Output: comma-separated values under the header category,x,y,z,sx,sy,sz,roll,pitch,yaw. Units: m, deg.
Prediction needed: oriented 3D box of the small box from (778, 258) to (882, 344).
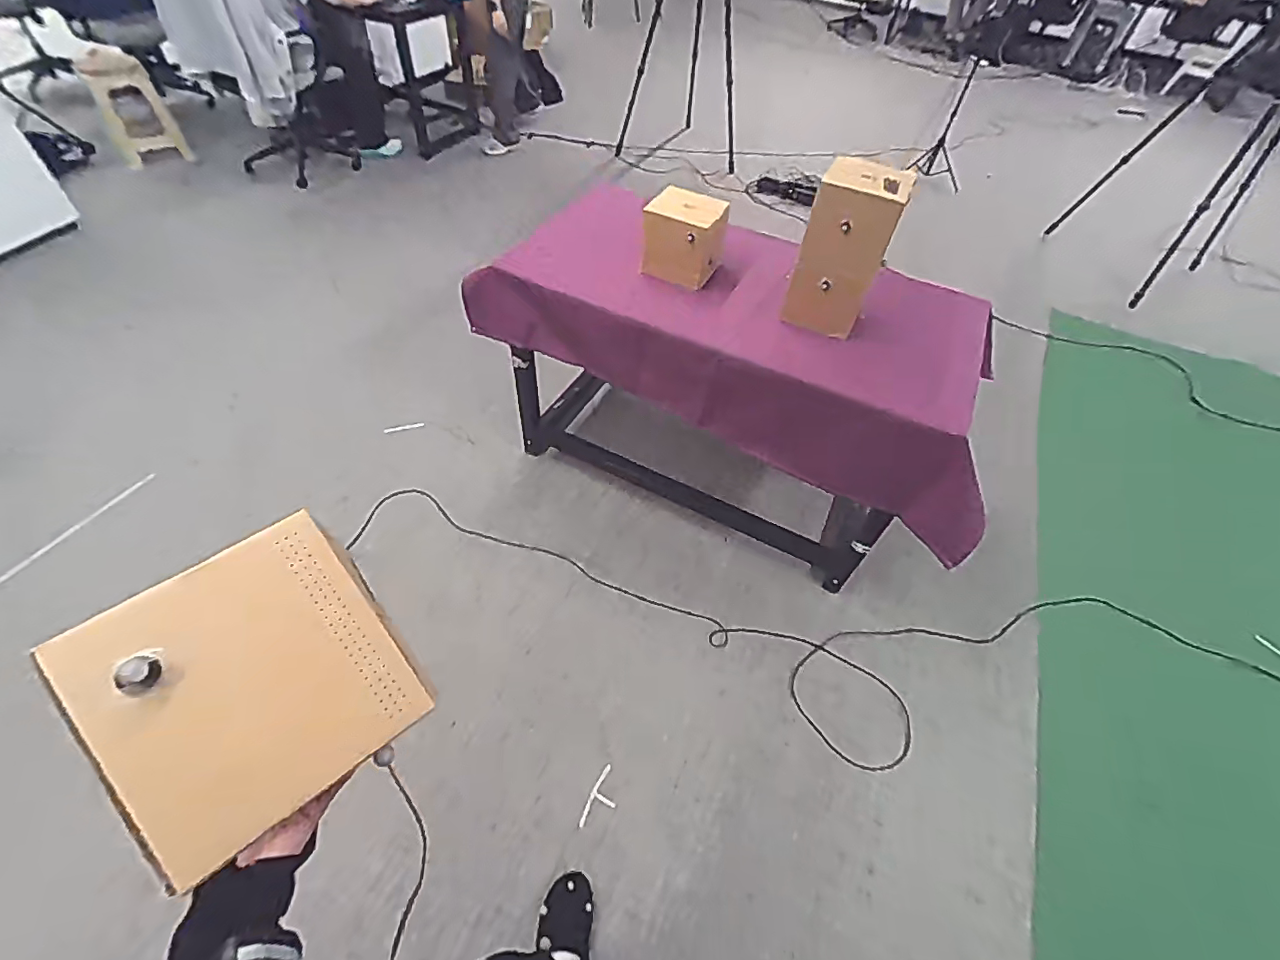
category,x,y,z,sx,sy,sz,roll,pitch,yaw
small box,0.456,-0.459,1.316,0.179,0.176,0.168,24,53,14

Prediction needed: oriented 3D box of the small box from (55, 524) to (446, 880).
category,x,y,z,sx,sy,sz,roll,pitch,yaw
small box,-0.277,0.152,0.433,0.176,0.168,0.179,-33,85,-25

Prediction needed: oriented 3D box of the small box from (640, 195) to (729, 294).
category,x,y,z,sx,sy,sz,roll,pitch,yaw
small box,0.109,-0.612,1.415,0.179,0.176,0.168,23,52,12

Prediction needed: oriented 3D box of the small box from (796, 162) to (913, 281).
category,x,y,z,sx,sy,sz,roll,pitch,yaw
small box,0.468,-0.564,1.191,0.179,0.176,0.168,22,52,14
